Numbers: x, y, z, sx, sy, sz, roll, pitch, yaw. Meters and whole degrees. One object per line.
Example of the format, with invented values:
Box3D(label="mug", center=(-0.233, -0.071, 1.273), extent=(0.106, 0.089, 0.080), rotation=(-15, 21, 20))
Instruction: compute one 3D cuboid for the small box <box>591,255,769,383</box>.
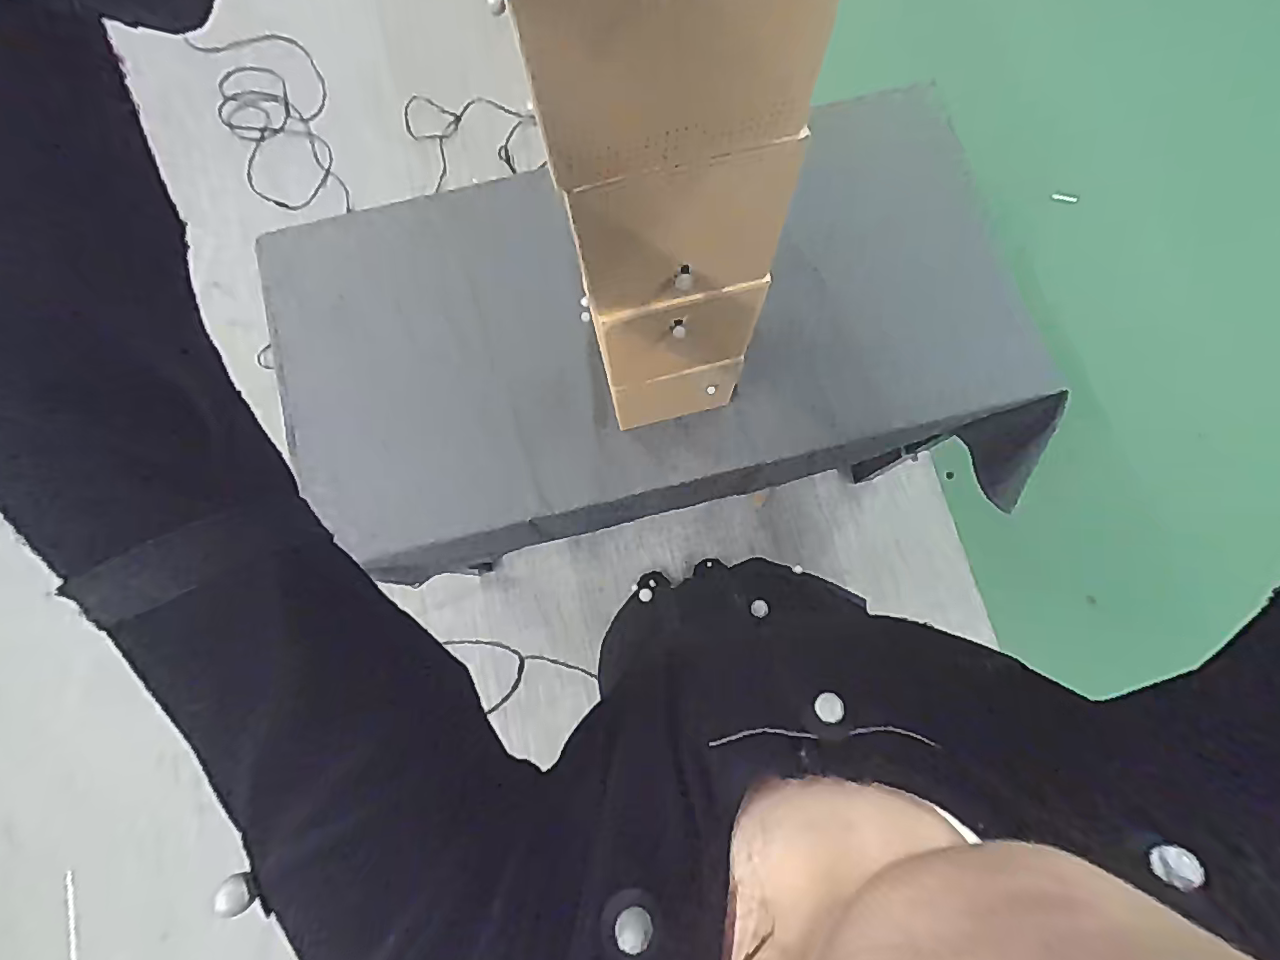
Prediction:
Box3D(label="small box", center=(0.028, -0.233, 0.626), extent=(0.179, 0.176, 0.168), rotation=(-15, 77, -1))

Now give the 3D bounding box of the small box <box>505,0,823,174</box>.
Box3D(label="small box", center=(0.004, -0.313, 0.309), extent=(0.179, 0.176, 0.168), rotation=(-14, 77, -1))

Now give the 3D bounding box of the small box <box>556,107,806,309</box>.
Box3D(label="small box", center=(0.017, -0.274, 0.468), extent=(0.179, 0.176, 0.168), rotation=(-13, 77, -1))
